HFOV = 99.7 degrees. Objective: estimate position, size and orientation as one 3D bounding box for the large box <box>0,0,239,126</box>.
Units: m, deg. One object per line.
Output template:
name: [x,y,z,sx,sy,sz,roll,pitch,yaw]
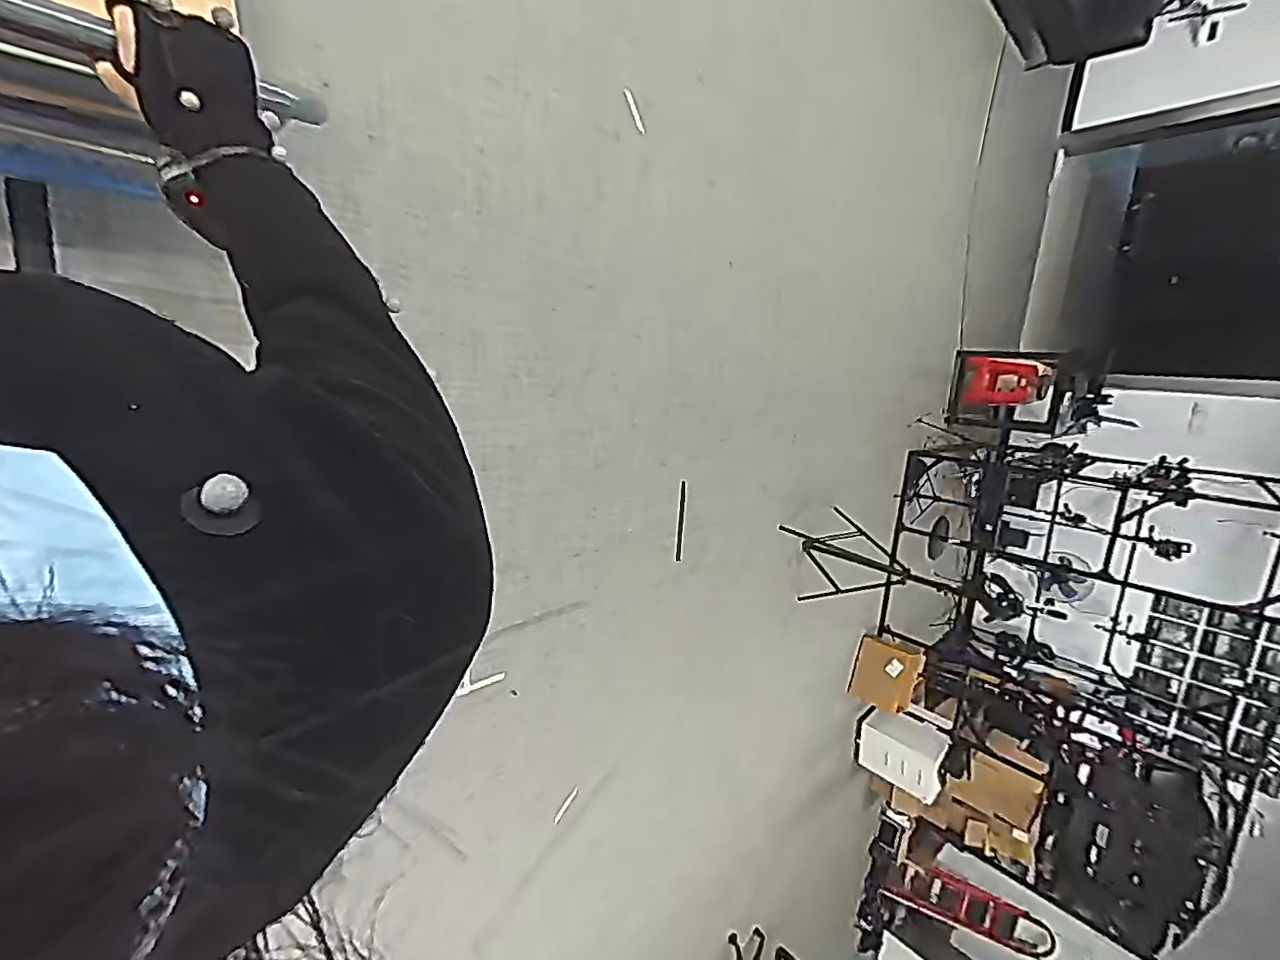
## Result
large box: [-0.820,-0.722,0.704,0.408,0.320,0.320,-13,110,-43]
